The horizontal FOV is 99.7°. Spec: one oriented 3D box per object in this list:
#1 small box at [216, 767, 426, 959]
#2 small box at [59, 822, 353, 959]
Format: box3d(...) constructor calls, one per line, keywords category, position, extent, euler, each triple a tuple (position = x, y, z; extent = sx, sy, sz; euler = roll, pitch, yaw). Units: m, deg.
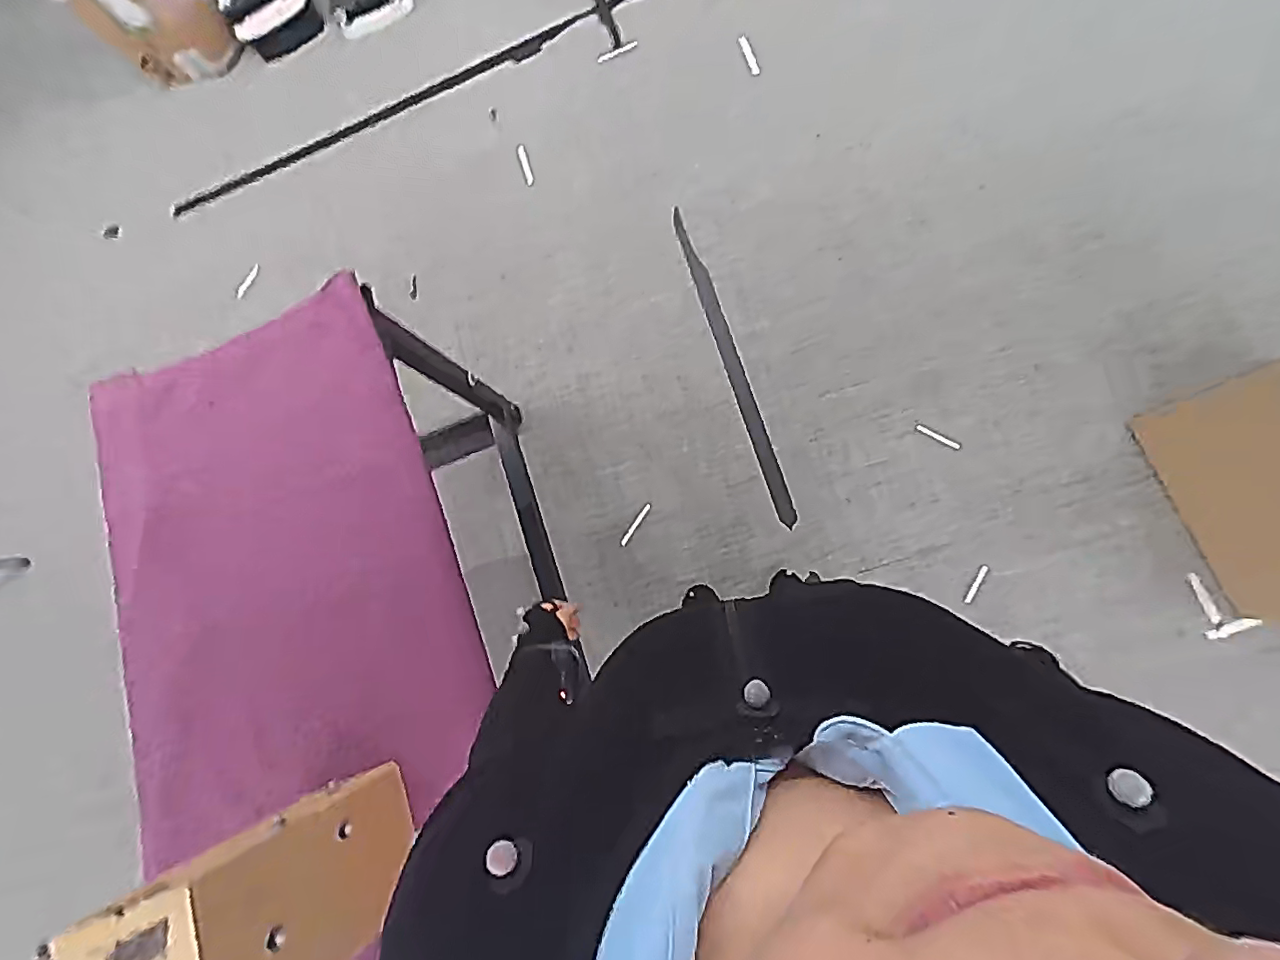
box3d(category="small box", position=(-0.424, 0.532, 0.740), extent=(0.168, 0.176, 0.179), euler=(-23, 77, 6))
box3d(category="small box", position=(-0.449, 0.502, 0.580), extent=(0.168, 0.176, 0.179), euler=(-23, 78, 6))
